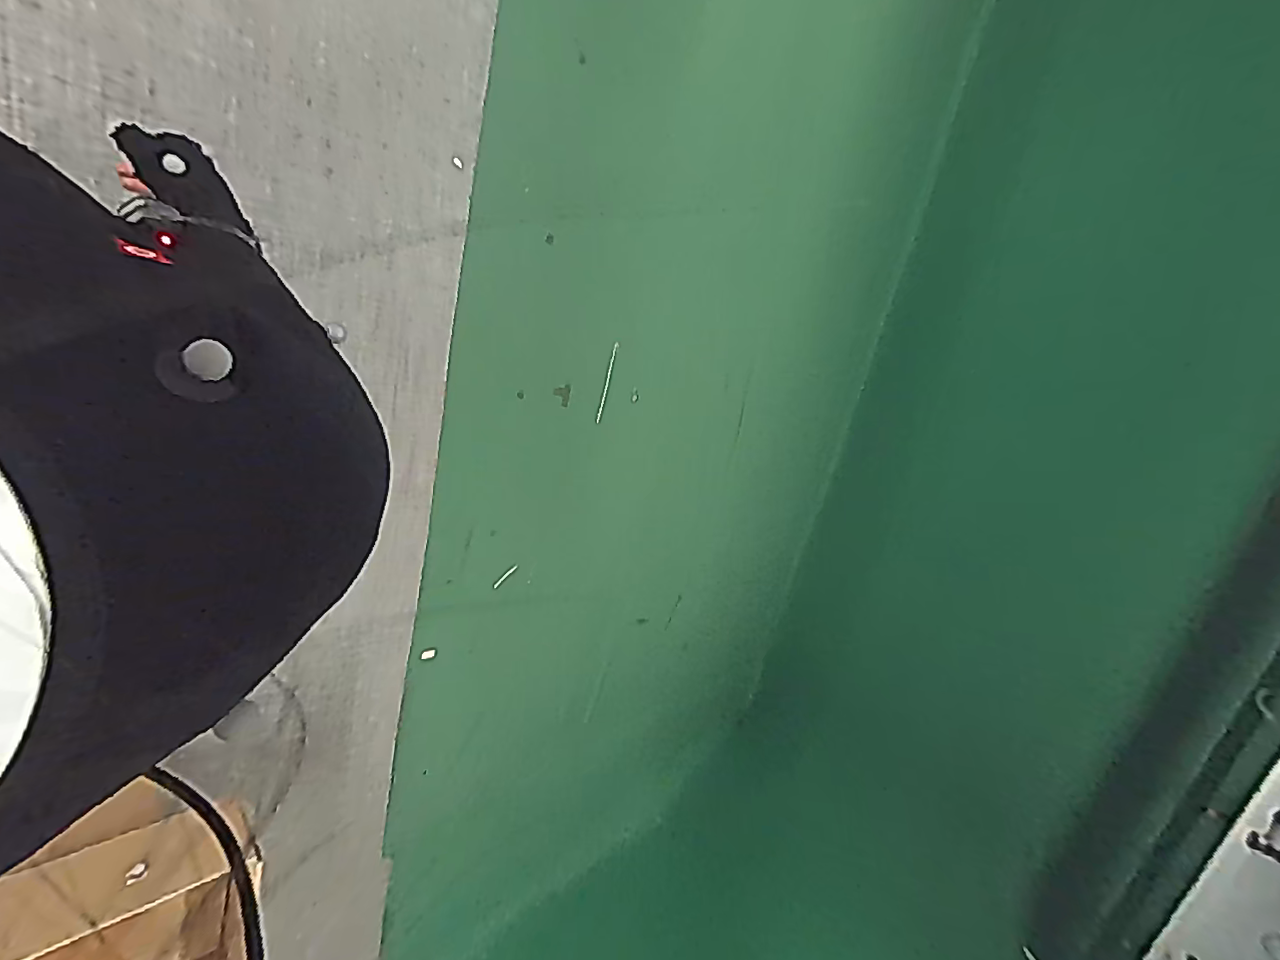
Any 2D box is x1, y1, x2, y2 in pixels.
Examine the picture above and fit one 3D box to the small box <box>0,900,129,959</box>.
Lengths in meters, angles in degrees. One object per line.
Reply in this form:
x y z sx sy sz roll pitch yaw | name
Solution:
-1.035 0.904 0.964 0.168 0.176 0.179 0 113 -47 | small box
